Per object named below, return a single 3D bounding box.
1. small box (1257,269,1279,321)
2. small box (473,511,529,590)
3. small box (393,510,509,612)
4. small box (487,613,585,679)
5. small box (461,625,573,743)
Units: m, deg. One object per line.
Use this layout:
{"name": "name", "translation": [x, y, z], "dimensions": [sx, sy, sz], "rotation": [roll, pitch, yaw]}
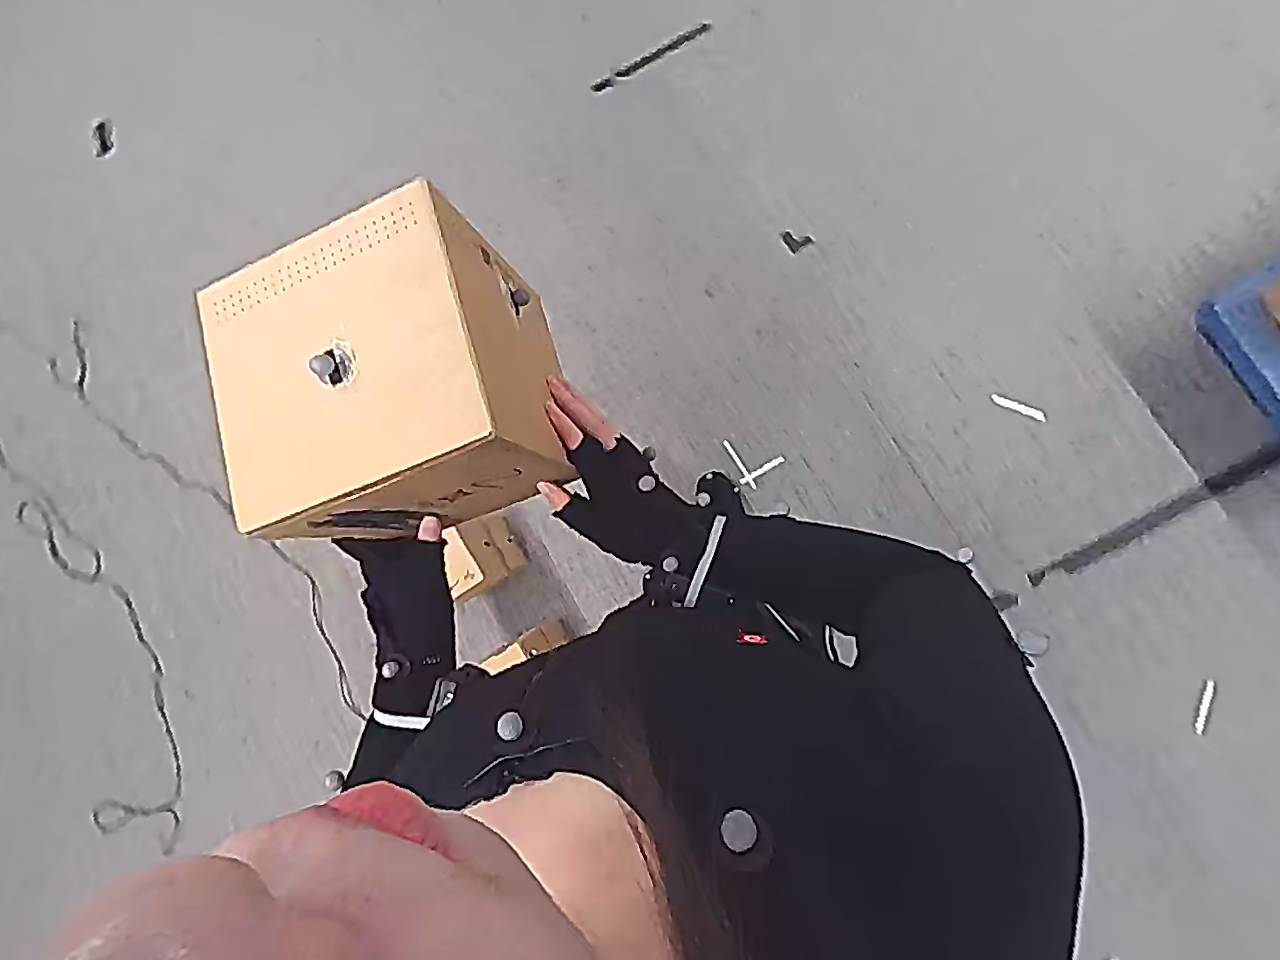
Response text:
{"name": "small box", "translation": [1.514, -0.419, 1.151], "dimensions": [0.168, 0.176, 0.179], "rotation": [-26, 83, 2]}
{"name": "small box", "translation": [-0.430, 0.198, 1.461], "dimensions": [0.179, 0.176, 0.168], "rotation": [-32, 84, 2]}
{"name": "small box", "translation": [-0.444, 0.191, 1.297], "dimensions": [0.168, 0.176, 0.179], "rotation": [-33, 82, 2]}
{"name": "small box", "translation": [-0.267, 0.472, 1.425], "dimensions": [0.179, 0.176, 0.168], "rotation": [-29, 84, 2]}
{"name": "small box", "translation": [-0.277, 0.466, 1.263], "dimensions": [0.168, 0.176, 0.179], "rotation": [-33, 84, 2]}
